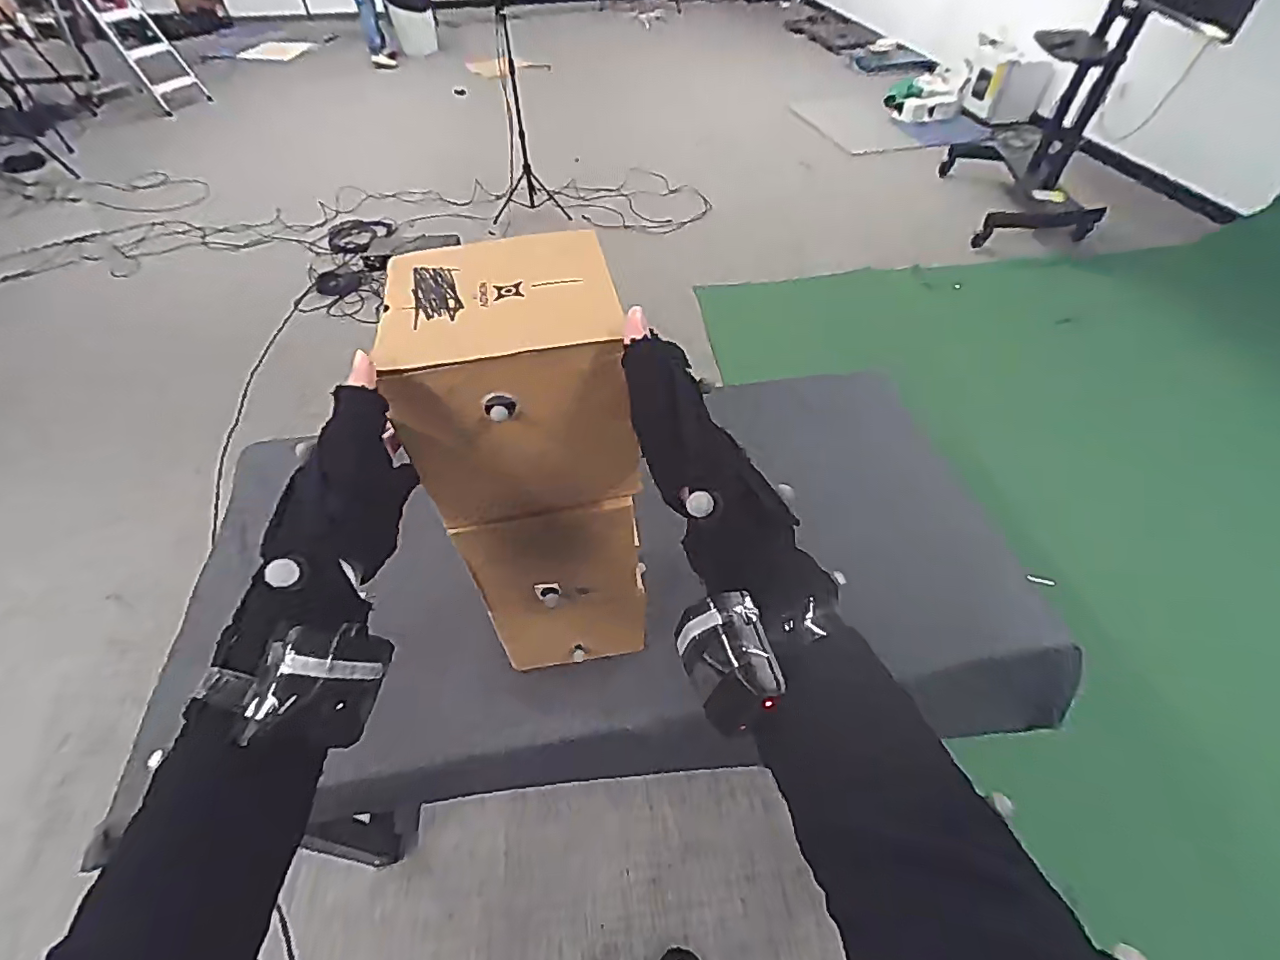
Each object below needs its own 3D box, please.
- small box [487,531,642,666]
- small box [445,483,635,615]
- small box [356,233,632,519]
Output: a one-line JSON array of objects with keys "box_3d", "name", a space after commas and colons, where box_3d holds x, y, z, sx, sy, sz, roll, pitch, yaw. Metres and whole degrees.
[{"box_3d": [-0.095, 0.127, 0.717, 0.179, 0.176, 0.168, -7, 49, -5], "name": "small box"}, {"box_3d": [-0.101, 0.023, 0.592, 0.168, 0.176, 0.179, -9, 51, -4], "name": "small box"}, {"box_3d": [-0.110, -0.085, 0.467, 0.179, 0.176, 0.168, -10, 50, -5], "name": "small box"}]
